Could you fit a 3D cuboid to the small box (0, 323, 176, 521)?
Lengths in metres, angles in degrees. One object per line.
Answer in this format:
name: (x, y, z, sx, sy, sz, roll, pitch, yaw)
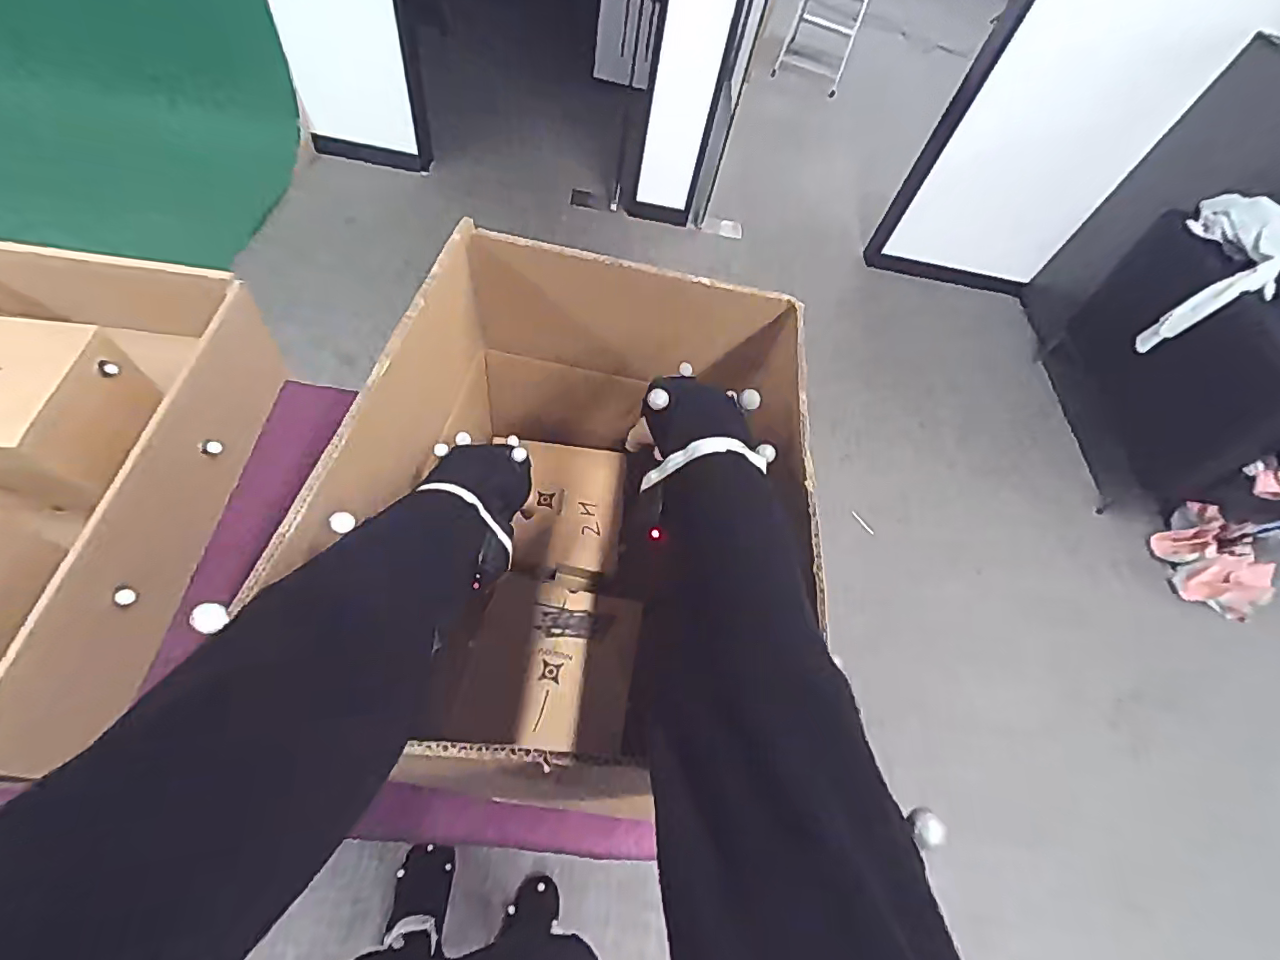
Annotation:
small box: (-0.714, -0.064, 0.645, 0.168, 0.176, 0.179, 3, 58, -8)
